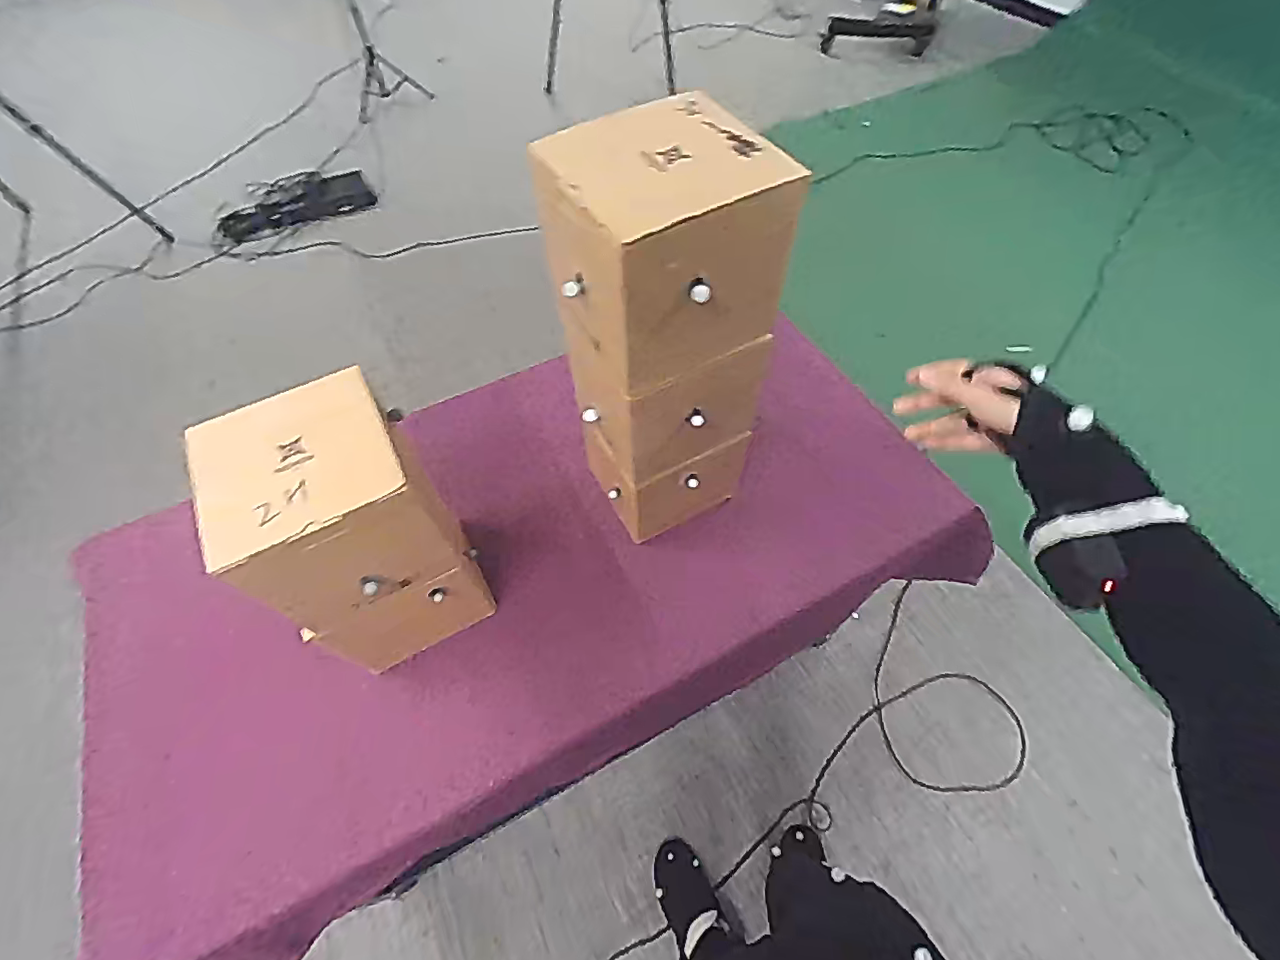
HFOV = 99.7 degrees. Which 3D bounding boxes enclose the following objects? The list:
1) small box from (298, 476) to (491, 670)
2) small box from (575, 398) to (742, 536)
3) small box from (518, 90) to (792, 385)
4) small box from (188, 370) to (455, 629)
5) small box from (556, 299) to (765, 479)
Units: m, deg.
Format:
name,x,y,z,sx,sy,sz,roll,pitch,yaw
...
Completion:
name,x,y,z,sx,sy,sz,roll,pitch,yaw
small box,-0.319,0.119,0.700,0.179,0.176,0.168,-27,61,-15
small box,0.025,-0.045,0.790,0.179,0.176,0.168,-25,62,-14
small box,0.013,-0.221,0.512,0.179,0.176,0.168,-28,62,-14
small box,-0.318,0.025,0.564,0.168,0.176,0.179,-27,61,-14
small box,0.020,-0.133,0.650,0.179,0.176,0.168,-27,61,-13
